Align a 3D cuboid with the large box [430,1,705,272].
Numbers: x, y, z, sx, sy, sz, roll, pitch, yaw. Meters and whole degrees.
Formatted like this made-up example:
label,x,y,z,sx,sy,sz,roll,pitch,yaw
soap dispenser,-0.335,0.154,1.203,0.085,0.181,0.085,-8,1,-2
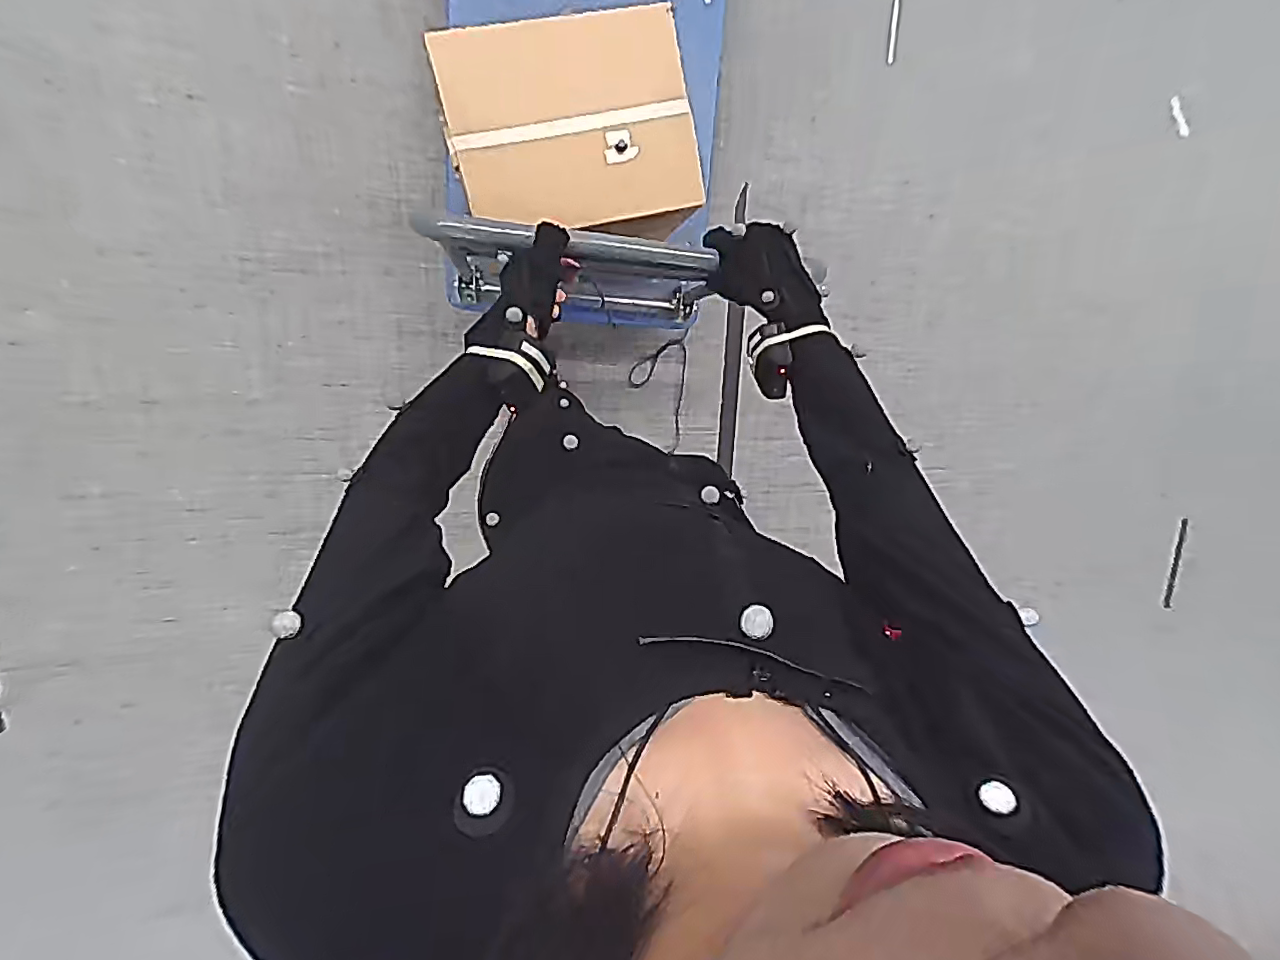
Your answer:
label,x,y,z,sx,sy,sz,roll,pitch,yaw
large box,-0.137,-0.623,1.039,0.408,0.320,0.320,-15,105,-9
